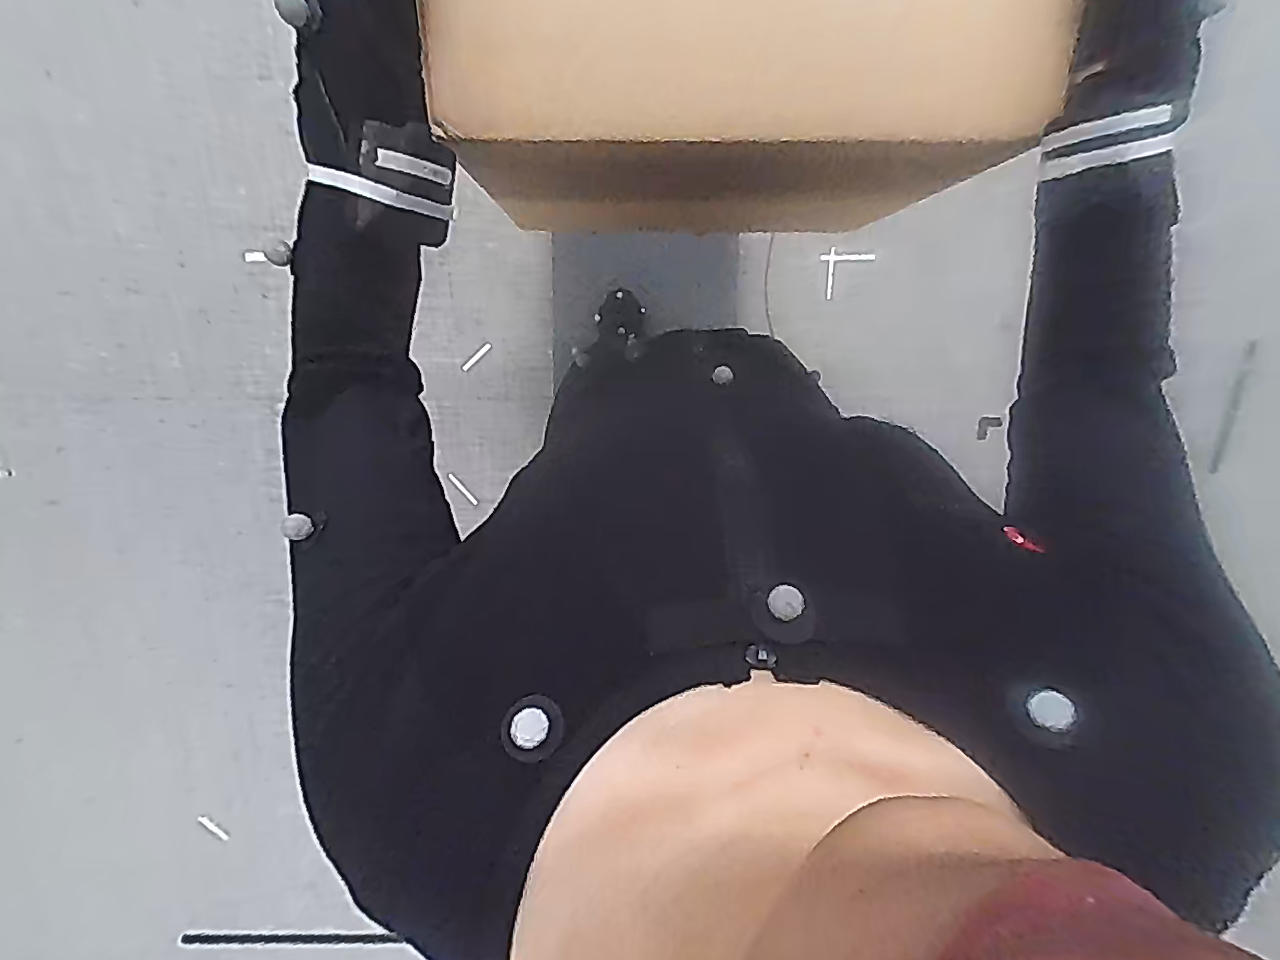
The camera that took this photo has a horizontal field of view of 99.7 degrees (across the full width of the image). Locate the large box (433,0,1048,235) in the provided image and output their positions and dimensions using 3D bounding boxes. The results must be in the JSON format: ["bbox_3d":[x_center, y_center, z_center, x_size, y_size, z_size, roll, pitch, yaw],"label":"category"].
[{"bbox_3d":[0.058,-0.413,0.471,0.408,0.320,0.320,-1,105,-2],"label":"large box"}]
